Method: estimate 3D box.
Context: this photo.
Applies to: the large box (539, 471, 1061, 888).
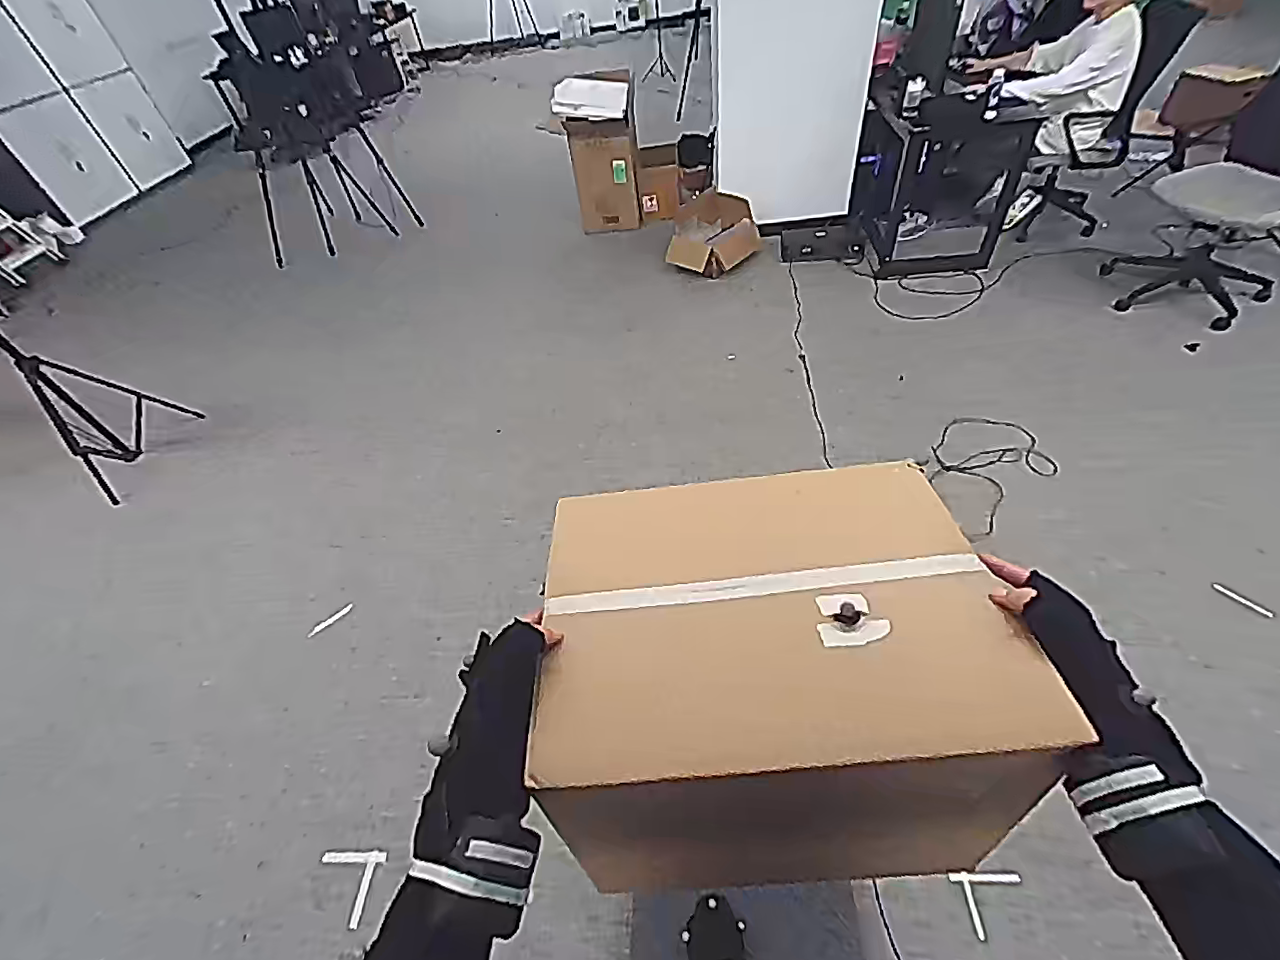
[{"bbox_3d":[0.127,0.222,0.613,0.408,0.320,0.320,-6,41,3],"label":"large box"}]
